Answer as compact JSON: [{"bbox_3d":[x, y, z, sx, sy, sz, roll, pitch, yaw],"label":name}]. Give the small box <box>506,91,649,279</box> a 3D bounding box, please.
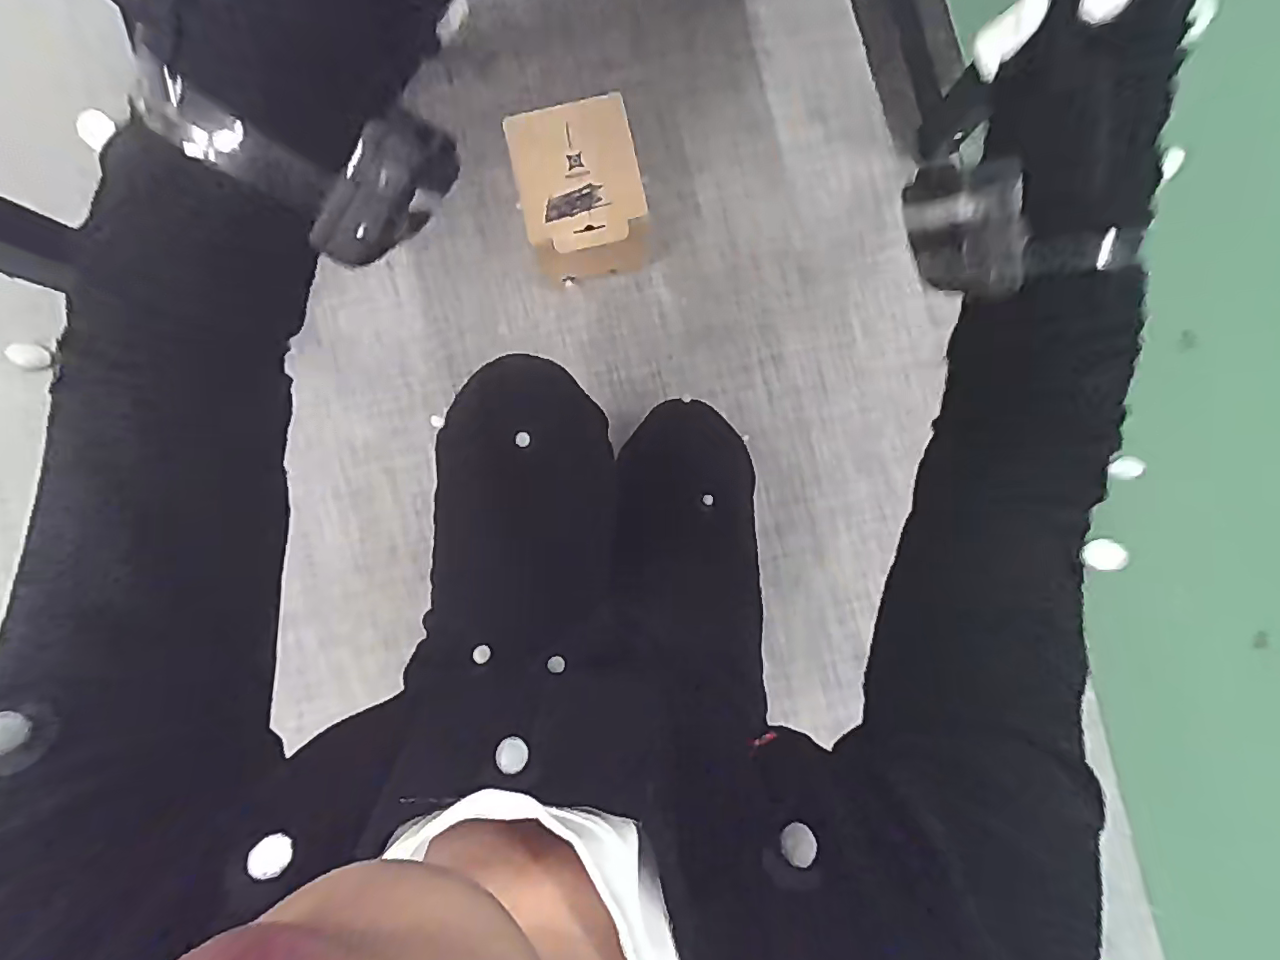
[{"bbox_3d":[-0.082,-0.417,0.800,0.168,0.176,0.179,-12,89,1],"label":"small box"}]
